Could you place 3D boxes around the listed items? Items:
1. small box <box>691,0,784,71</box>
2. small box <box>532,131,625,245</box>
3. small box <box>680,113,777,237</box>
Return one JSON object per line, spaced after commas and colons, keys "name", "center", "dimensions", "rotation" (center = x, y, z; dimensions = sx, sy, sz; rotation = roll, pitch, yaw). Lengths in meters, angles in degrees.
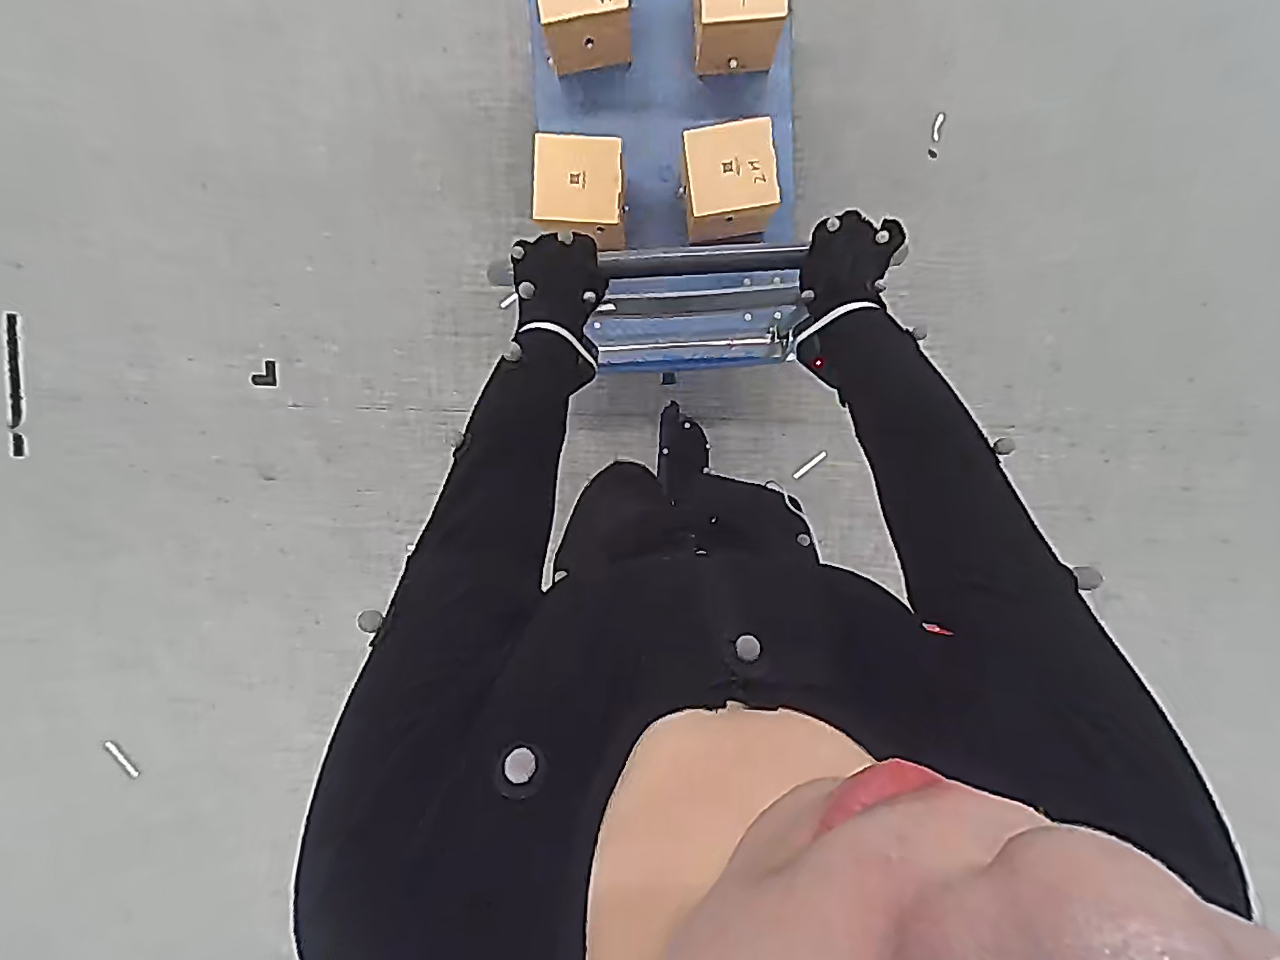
{"name": "small box", "center": [0.194, -0.984, 1.105], "dimensions": [0.168, 0.176, 0.179], "rotation": [-3, 98, 2]}
{"name": "small box", "center": [-0.126, -0.617, 1.161], "dimensions": [0.179, 0.176, 0.168], "rotation": [3, 96, 0]}
{"name": "small box", "center": [0.180, -0.635, 1.148], "dimensions": [0.179, 0.176, 0.168], "rotation": [-8, 97, 3]}
